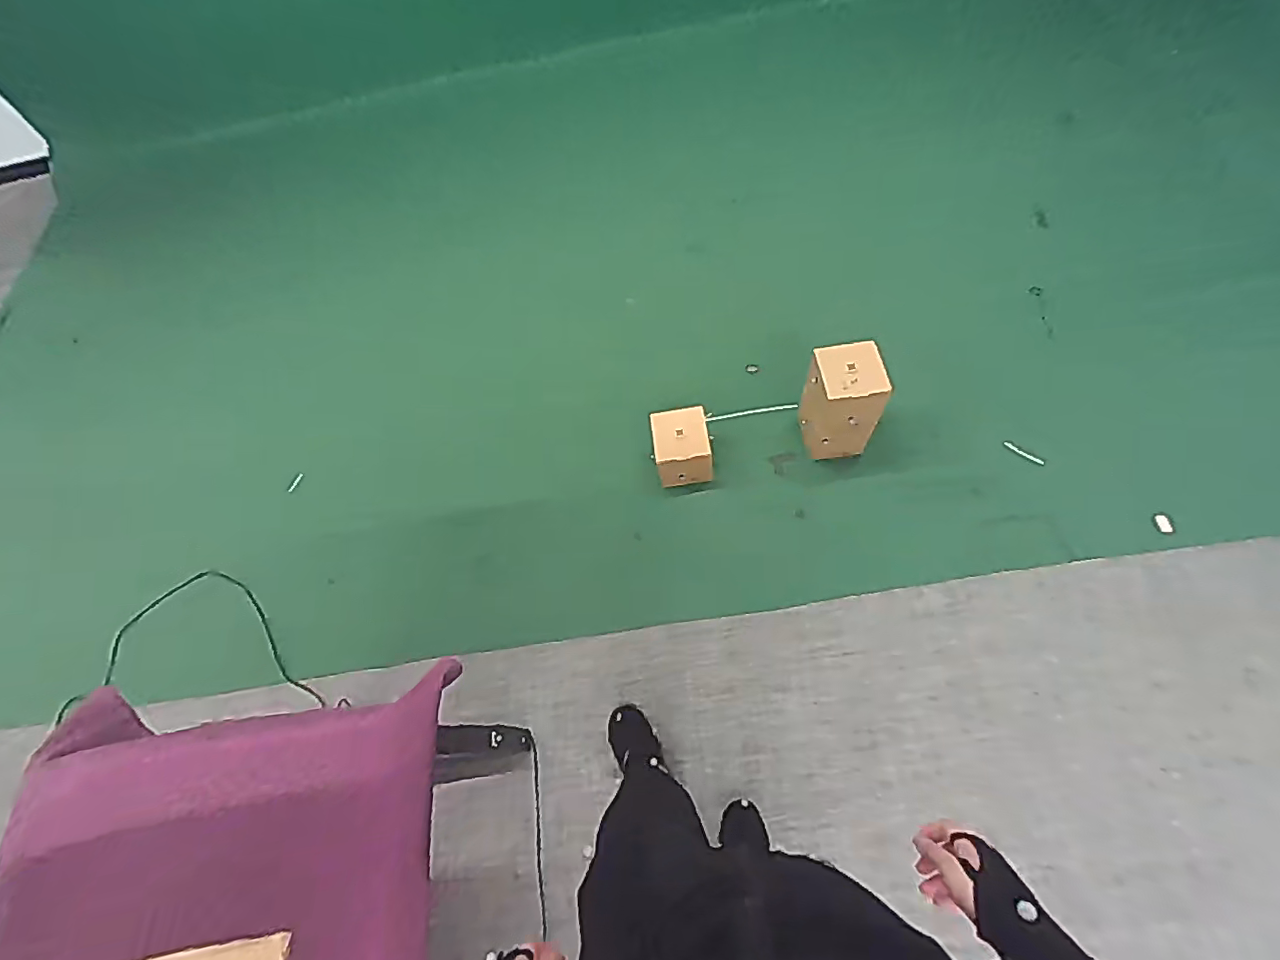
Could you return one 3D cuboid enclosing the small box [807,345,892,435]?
[{"bbox_3d":[0.578,-0.249,1.518,0.168,0.176,0.179,-8,63,4],"label":"small box"}]

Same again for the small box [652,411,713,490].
[{"bbox_3d":[0.134,-0.089,1.691,0.168,0.176,0.179,-9,63,4],"label":"small box"}]
